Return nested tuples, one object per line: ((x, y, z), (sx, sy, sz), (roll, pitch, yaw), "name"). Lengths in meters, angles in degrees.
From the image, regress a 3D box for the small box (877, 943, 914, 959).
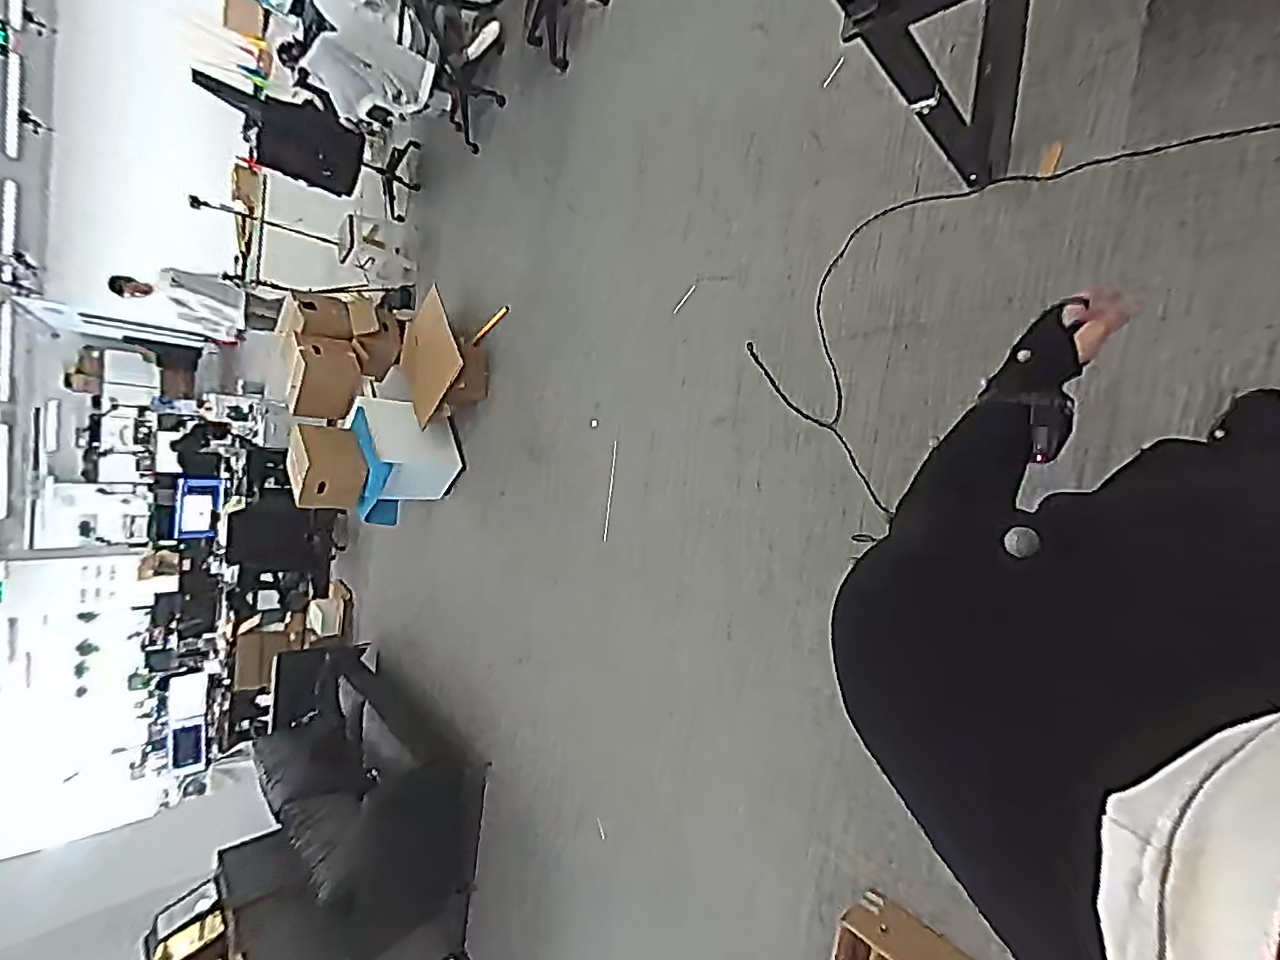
((0.705, 1.413, 1.449), (0.168, 0.176, 0.179), (13, 98, 44), "small box")
